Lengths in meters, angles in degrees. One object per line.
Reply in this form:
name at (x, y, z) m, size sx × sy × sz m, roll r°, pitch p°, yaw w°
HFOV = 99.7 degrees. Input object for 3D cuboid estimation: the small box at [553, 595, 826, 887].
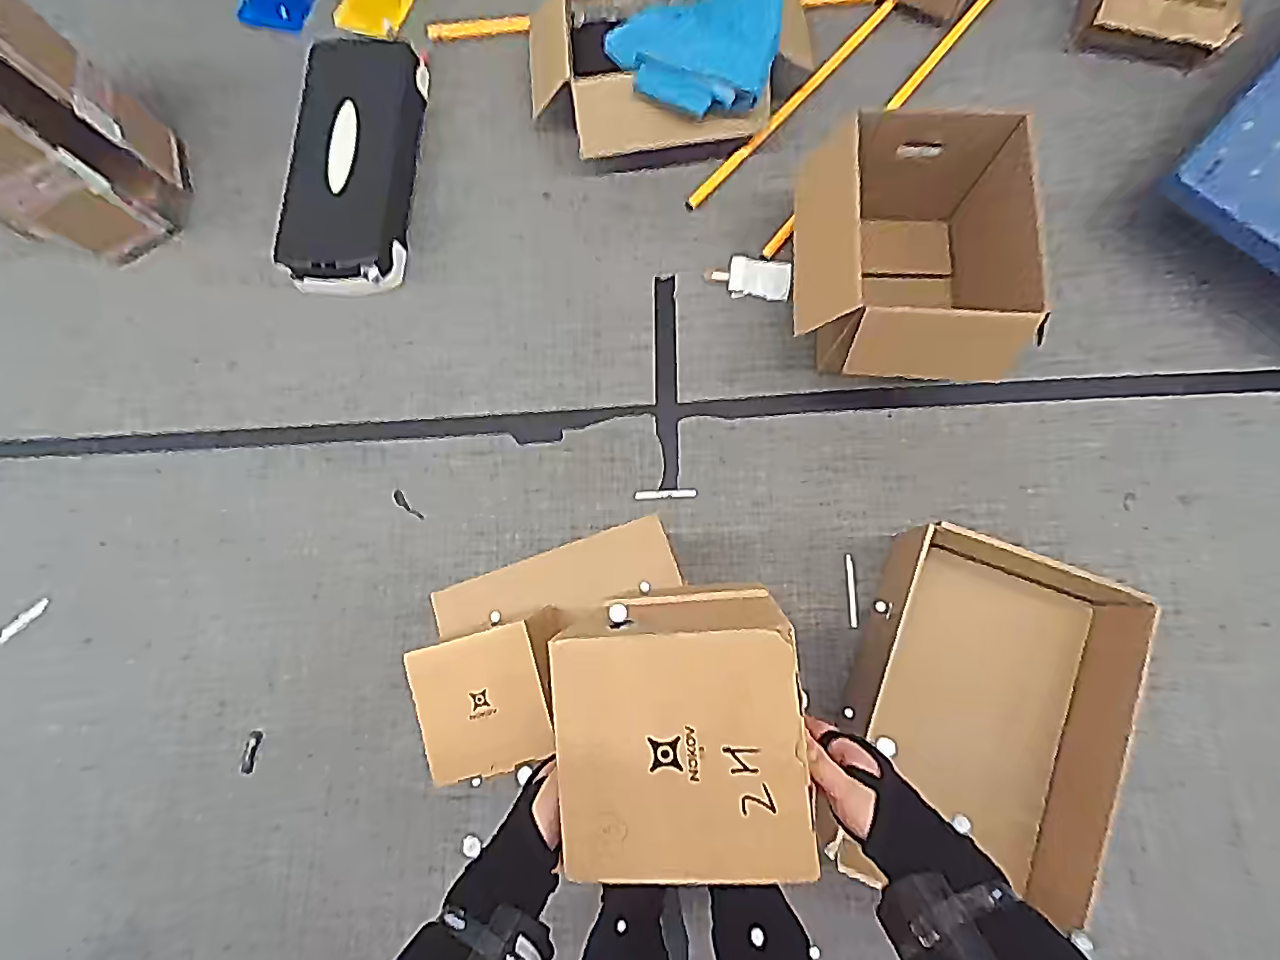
small box at (0.041, 0.189, 0.440) m, size 0.179 × 0.176 × 0.168 m, roll -5°, pitch 85°, yaw 8°
